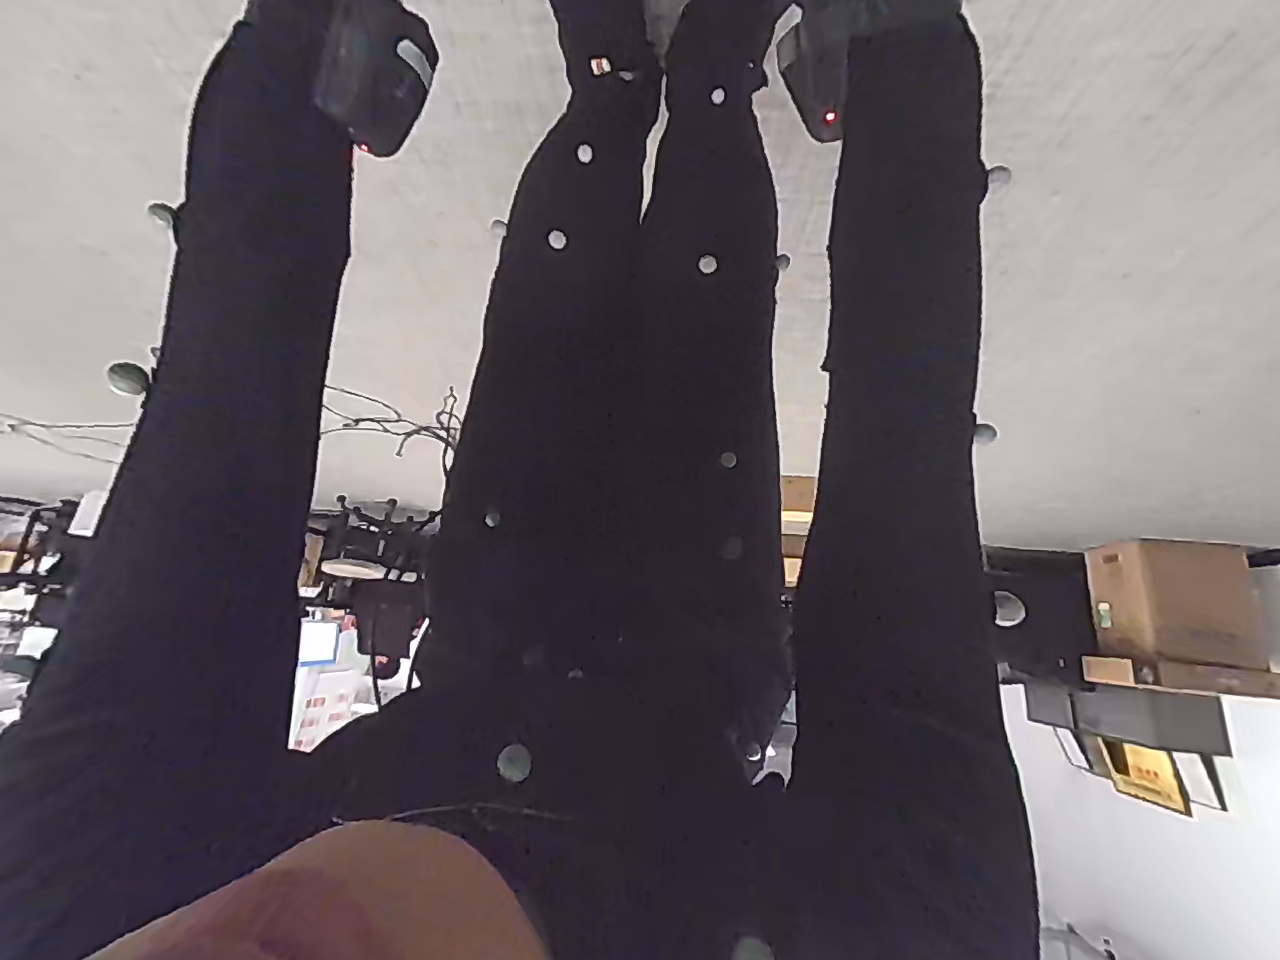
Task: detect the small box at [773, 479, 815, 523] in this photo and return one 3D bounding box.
[{"bbox_3d":[0.697,0.096,2.458,0.168,0.176,0.179,2,164,10],"label":"small box"}]
